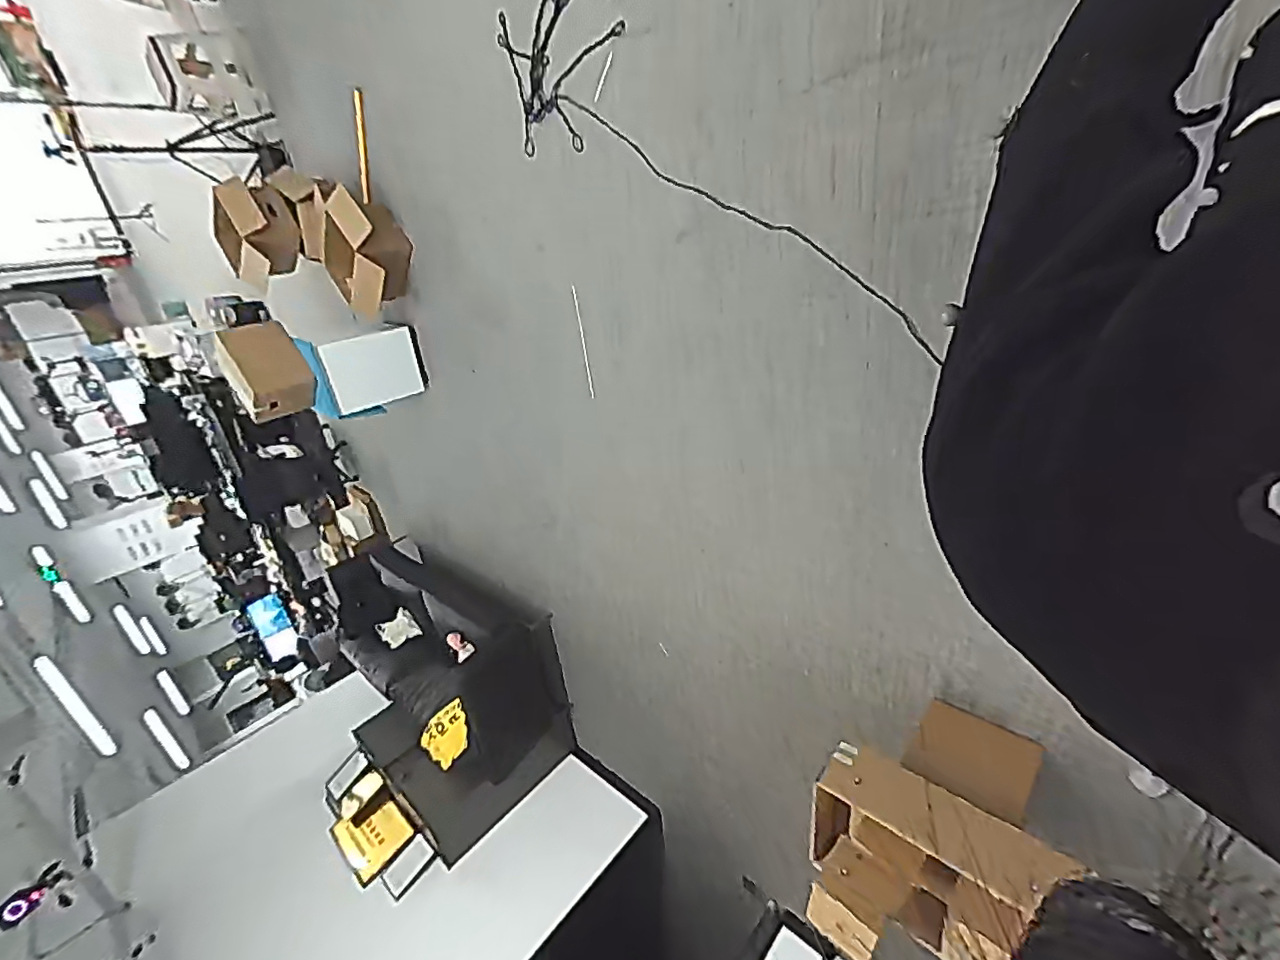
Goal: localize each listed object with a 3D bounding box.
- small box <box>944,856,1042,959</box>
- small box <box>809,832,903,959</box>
[{"bbox_3d":[0.879,1.101,1.346,0.168,0.176,0.179,13,121,42],"label":"small box"},{"bbox_3d":[0.564,1.075,1.410,0.168,0.176,0.179,23,128,37],"label":"small box"}]
